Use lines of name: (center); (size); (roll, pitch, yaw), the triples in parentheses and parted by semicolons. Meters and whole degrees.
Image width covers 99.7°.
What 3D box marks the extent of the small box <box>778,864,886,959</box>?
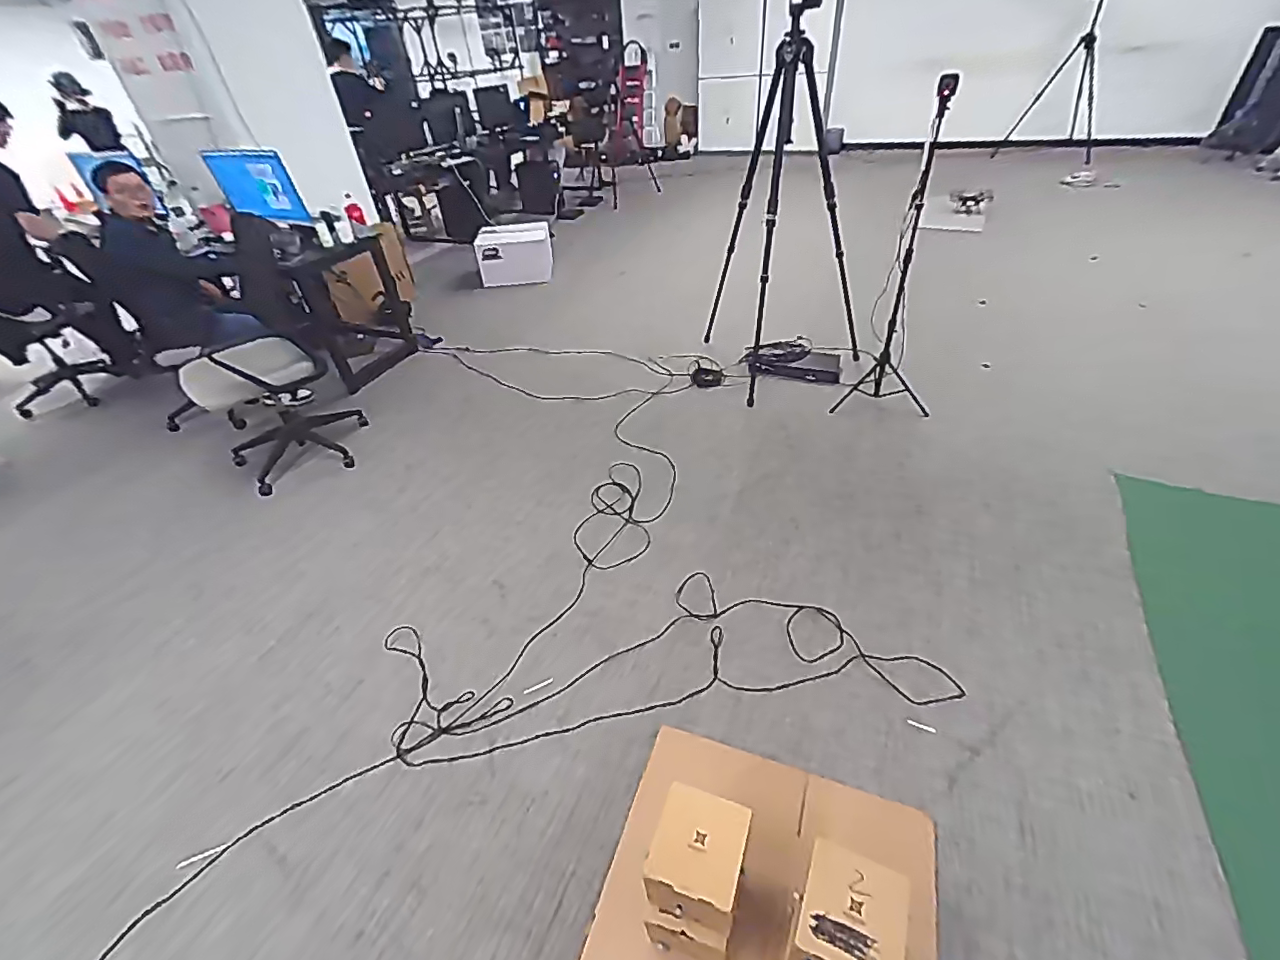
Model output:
small box: (0.377, 0.920, 1.075); (0.168, 0.176, 0.179); (13, 44, 23)

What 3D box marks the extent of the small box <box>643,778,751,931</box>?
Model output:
small box: (0.114, 0.737, 1.067); (0.168, 0.176, 0.179); (11, 42, 19)

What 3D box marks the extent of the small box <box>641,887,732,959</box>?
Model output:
small box: (0.111, 0.879, 1.152); (0.168, 0.176, 0.179); (9, 41, 17)
